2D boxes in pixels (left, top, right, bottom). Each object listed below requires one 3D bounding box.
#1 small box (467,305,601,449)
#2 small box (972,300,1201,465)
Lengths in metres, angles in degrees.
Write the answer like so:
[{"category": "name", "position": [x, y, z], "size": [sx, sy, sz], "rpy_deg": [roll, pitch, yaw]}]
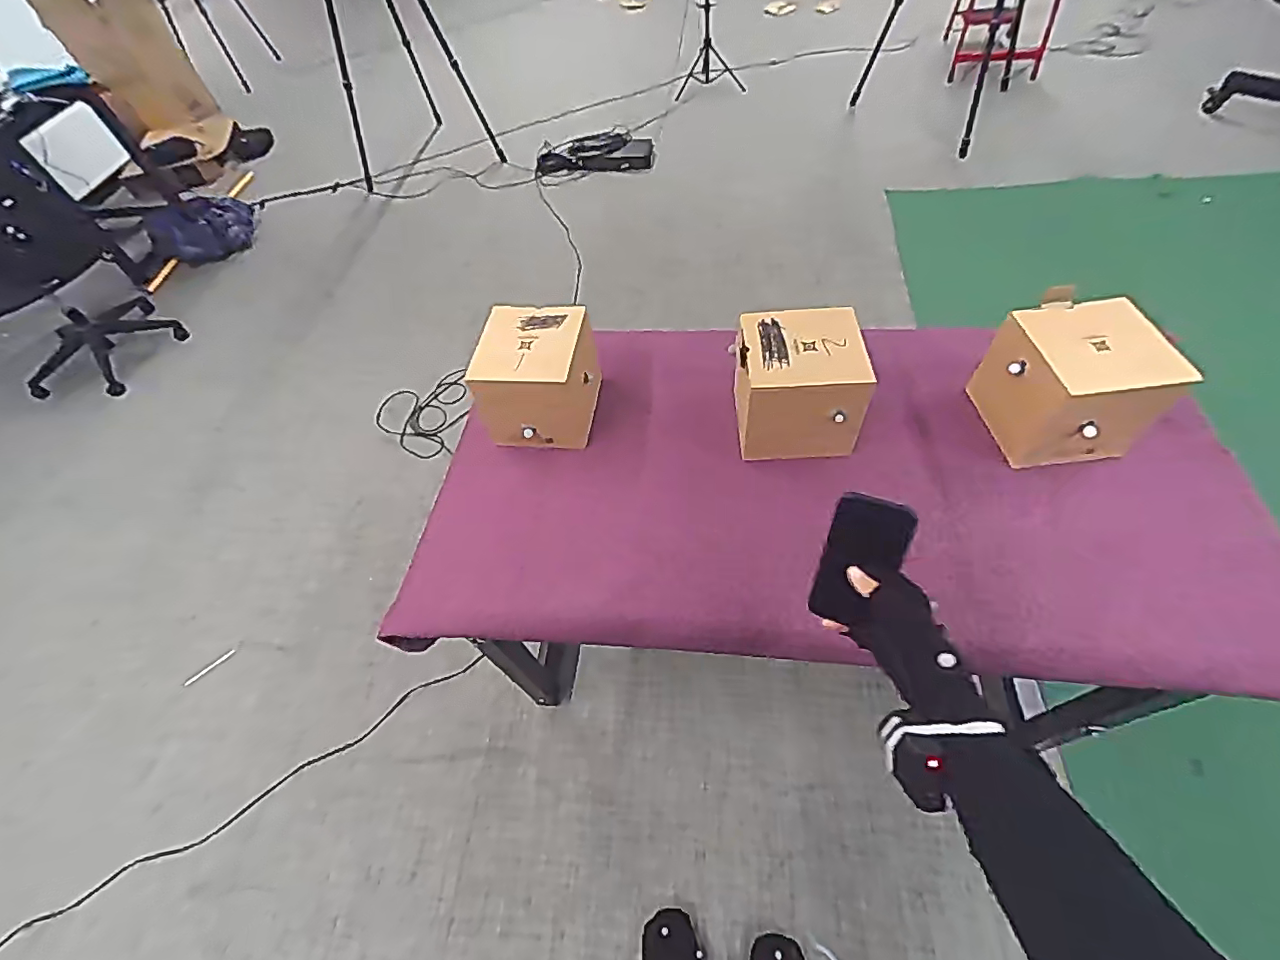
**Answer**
[{"category": "small box", "position": [-0.168, -0.176, 0.925], "size": [0.168, 0.176, 0.179], "rpy_deg": [3, 57, 9]}, {"category": "small box", "position": [0.636, -0.136, 0.802], "size": [0.168, 0.176, 0.179], "rpy_deg": [-7, 54, 3]}]
